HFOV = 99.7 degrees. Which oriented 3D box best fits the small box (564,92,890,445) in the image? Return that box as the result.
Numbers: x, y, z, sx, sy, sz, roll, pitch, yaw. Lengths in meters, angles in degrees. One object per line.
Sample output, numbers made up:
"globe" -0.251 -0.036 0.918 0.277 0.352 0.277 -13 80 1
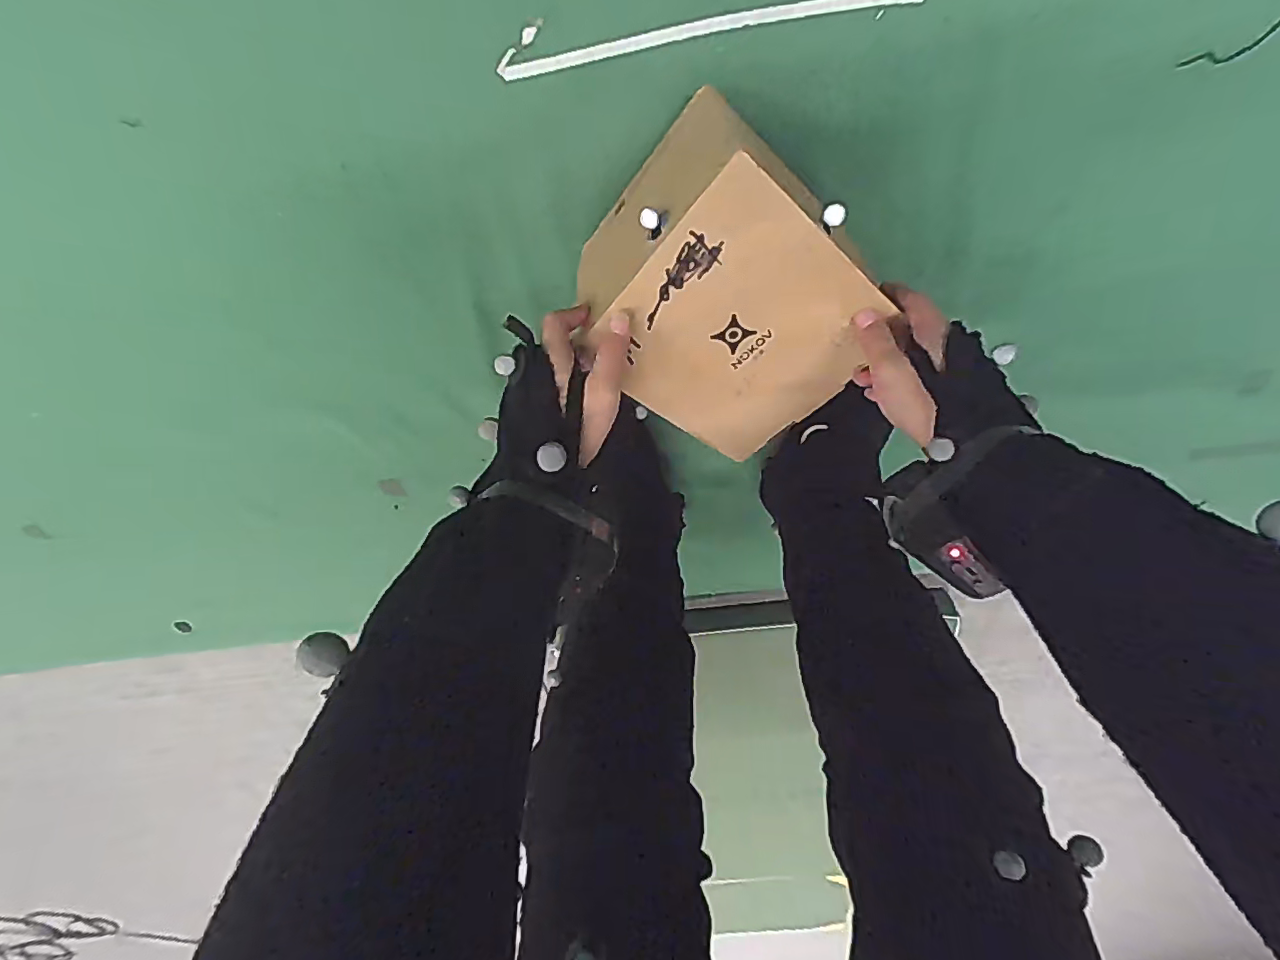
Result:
"small box" 0.059 -0.166 0.436 0.179 0.176 0.168 29 128 -29
